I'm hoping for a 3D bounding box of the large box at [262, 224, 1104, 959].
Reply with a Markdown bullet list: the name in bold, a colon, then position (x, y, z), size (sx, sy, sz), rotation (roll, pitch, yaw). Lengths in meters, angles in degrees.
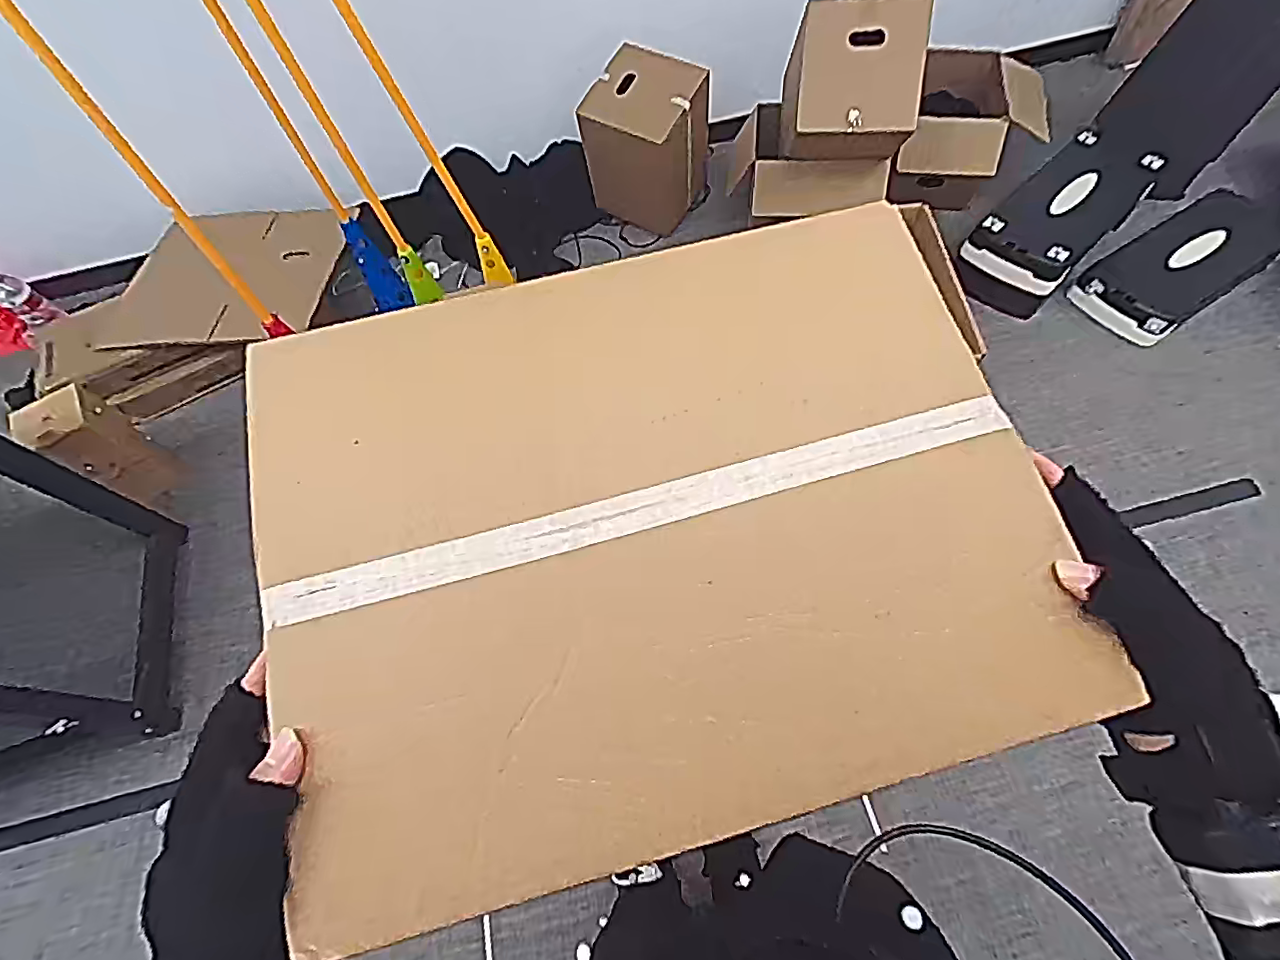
- **large box**: position (0.007, 0.067, 0.439), size (0.408, 0.320, 0.320), rotation (-15, 73, -4)
